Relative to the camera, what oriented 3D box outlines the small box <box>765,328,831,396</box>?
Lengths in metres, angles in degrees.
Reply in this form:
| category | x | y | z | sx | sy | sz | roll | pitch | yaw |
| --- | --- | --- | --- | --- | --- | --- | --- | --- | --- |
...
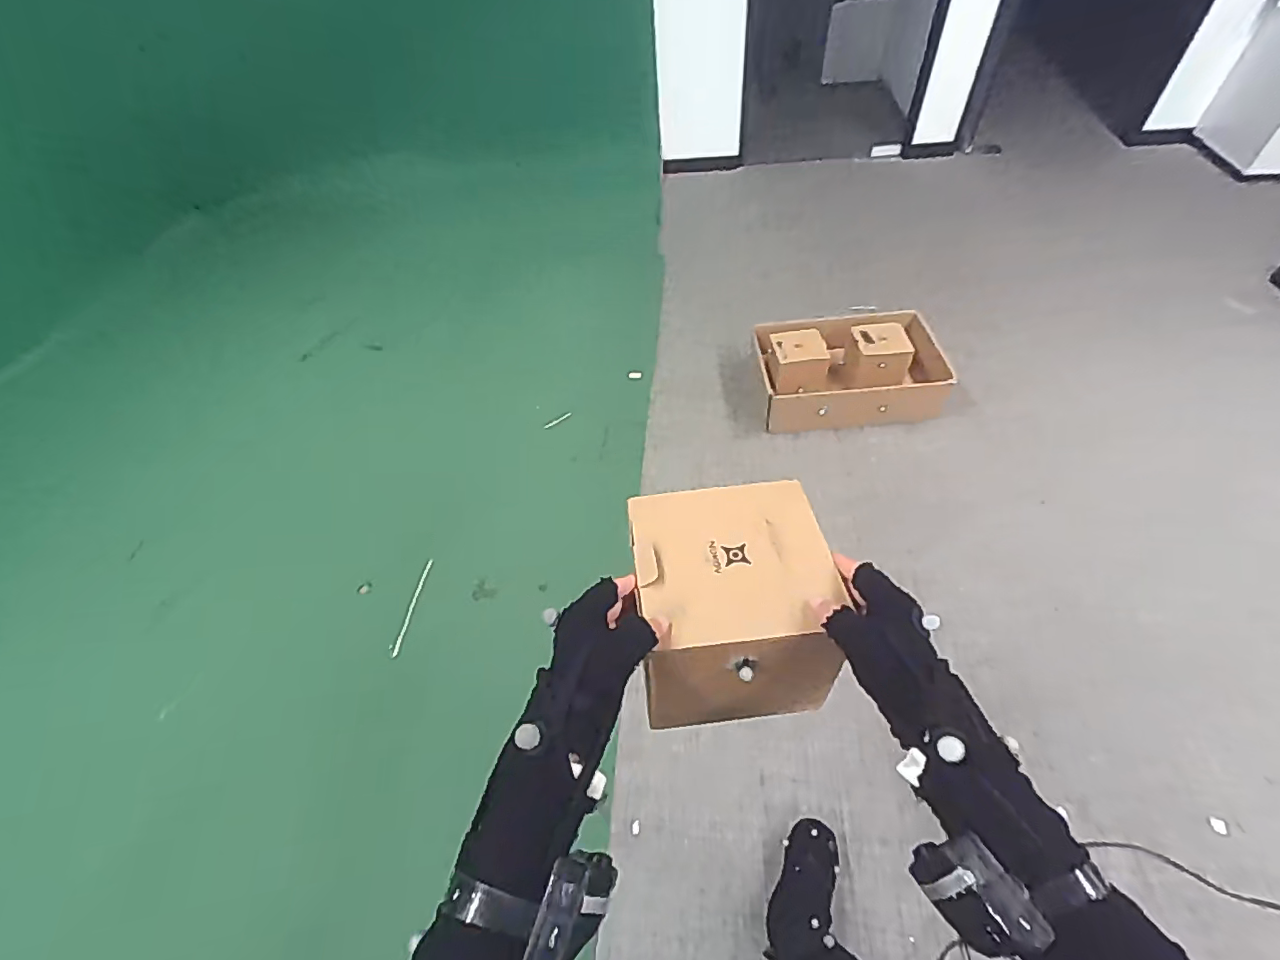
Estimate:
| category | x | y | z | sx | sy | sz | roll | pitch | yaw |
| --- | --- | --- | --- | --- | --- | --- | --- | --- | --- |
| small box | 0.561 | -0.422 | 1.943 | 0.179 | 0.176 | 0.168 | -6 | 51 | 0 |

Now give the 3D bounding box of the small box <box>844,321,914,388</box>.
| category | x | y | z | sx | sy | sz | roll | pitch | yaw |
| --- | --- | --- | --- | --- | --- | --- | --- | --- | --- |
| small box | 0.842 | -0.445 | 1.931 | 0.179 | 0.176 | 0.168 | -3 | 52 | 3 |
